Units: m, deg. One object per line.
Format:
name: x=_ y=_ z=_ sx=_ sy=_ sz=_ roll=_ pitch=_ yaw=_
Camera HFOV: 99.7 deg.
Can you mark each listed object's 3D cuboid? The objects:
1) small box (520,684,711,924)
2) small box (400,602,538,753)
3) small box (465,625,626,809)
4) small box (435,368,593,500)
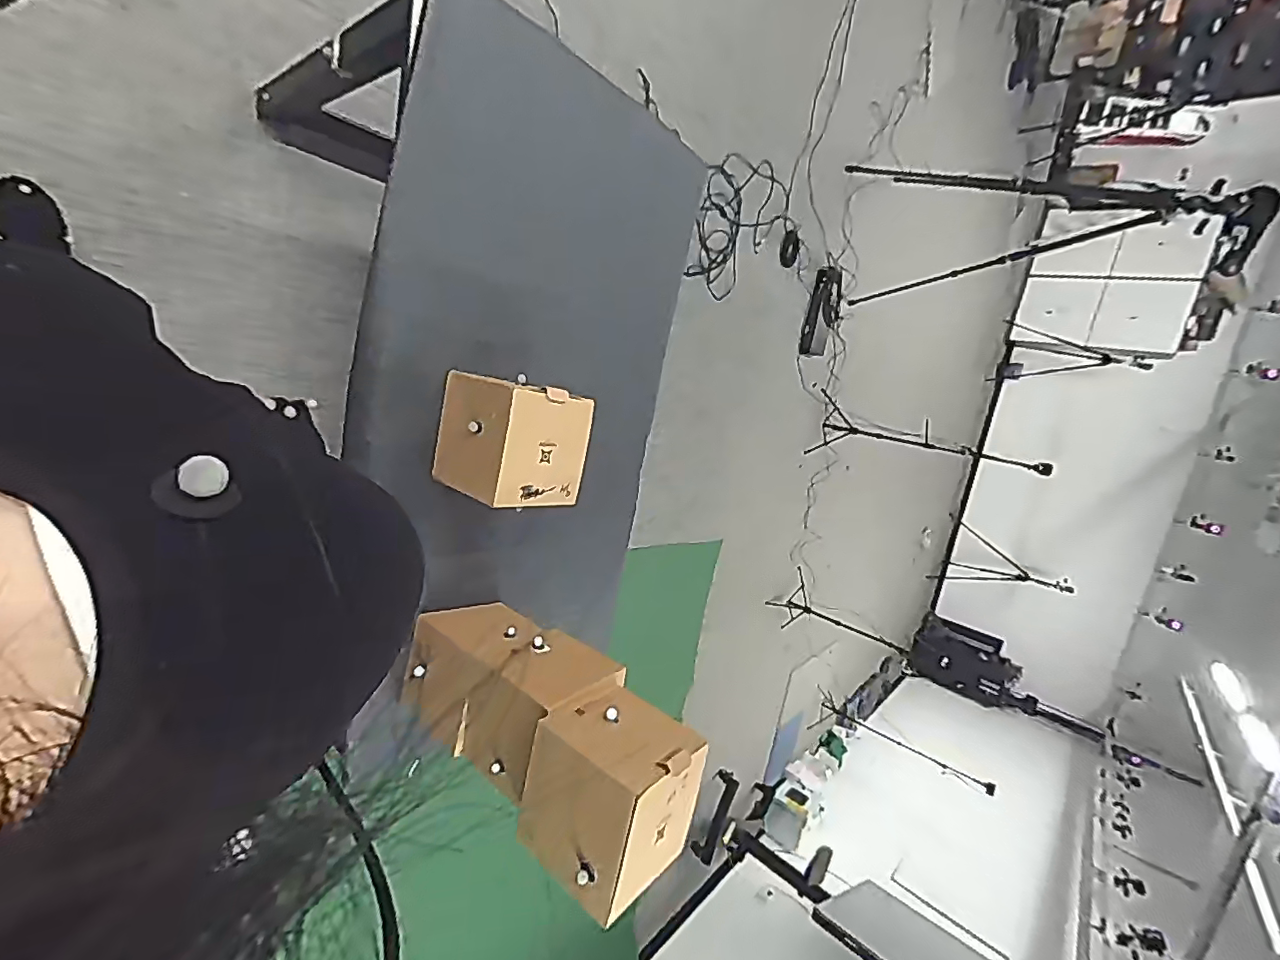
small box: x=-0.035 y=0.402 z=0.708 sx=0.168 sy=0.176 sz=0.179 roll=1 pitch=103 yaw=-54
small box: x=-0.273 y=0.319 z=0.918 sx=0.179 sy=0.176 sz=0.168 roll=7 pitch=99 yaw=-53
small box: x=-0.147 y=0.348 z=0.820 sx=0.168 sy=0.176 sz=0.179 roll=-7 pitch=108 yaw=-53
small box: x=-0.200 y=-0.073 z=0.851 sx=0.168 sy=0.176 sz=0.179 roll=1 pitch=103 yaw=-52
